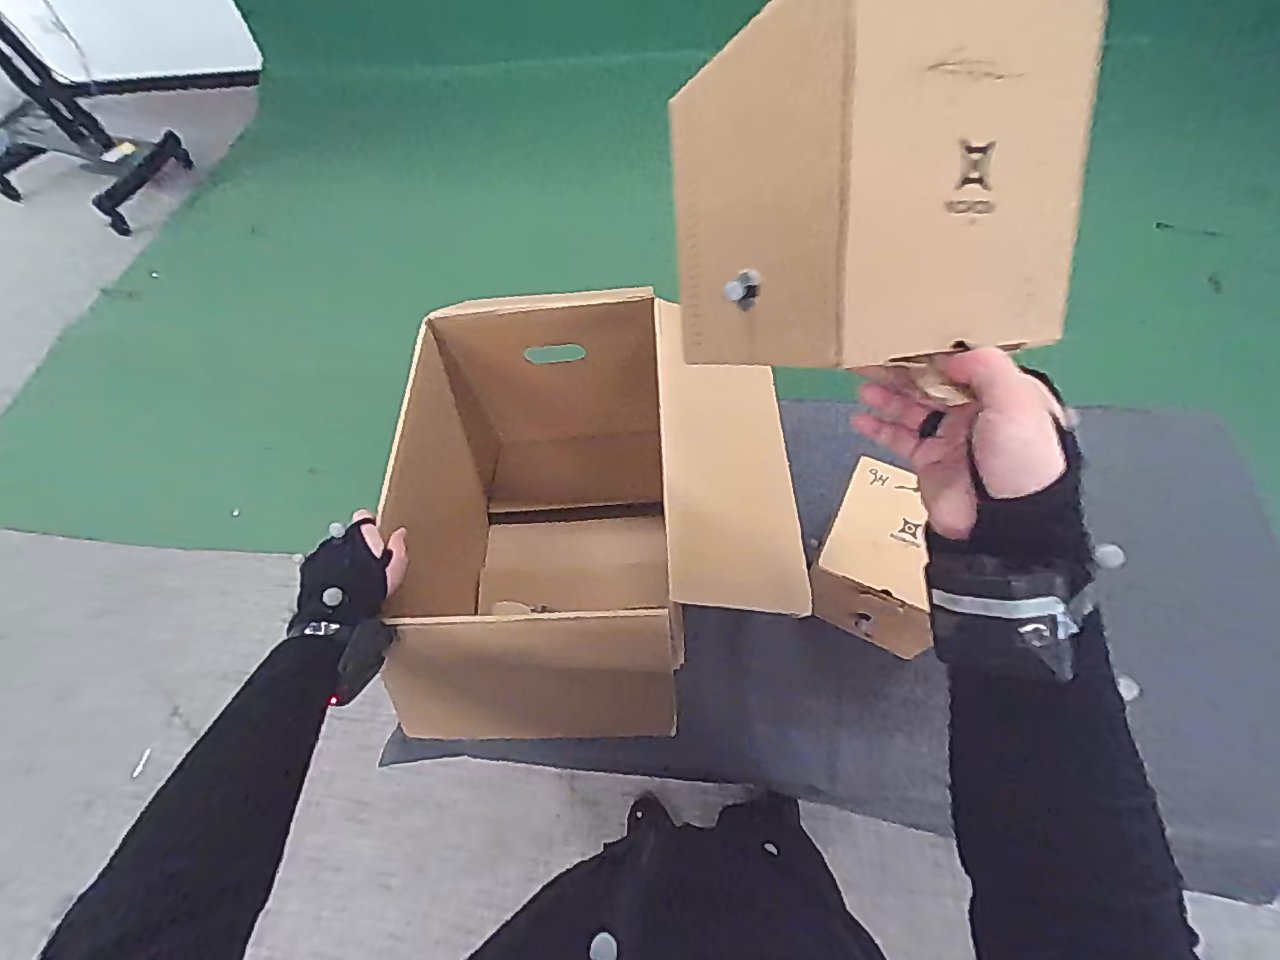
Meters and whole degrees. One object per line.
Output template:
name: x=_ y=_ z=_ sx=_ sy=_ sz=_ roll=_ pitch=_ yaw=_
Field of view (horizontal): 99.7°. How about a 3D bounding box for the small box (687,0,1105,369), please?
small box: x=0.141 y=-0.168 z=0.346 sx=0.168 sy=0.179 sz=0.176 roll=-10 pitch=15 yaw=-21
